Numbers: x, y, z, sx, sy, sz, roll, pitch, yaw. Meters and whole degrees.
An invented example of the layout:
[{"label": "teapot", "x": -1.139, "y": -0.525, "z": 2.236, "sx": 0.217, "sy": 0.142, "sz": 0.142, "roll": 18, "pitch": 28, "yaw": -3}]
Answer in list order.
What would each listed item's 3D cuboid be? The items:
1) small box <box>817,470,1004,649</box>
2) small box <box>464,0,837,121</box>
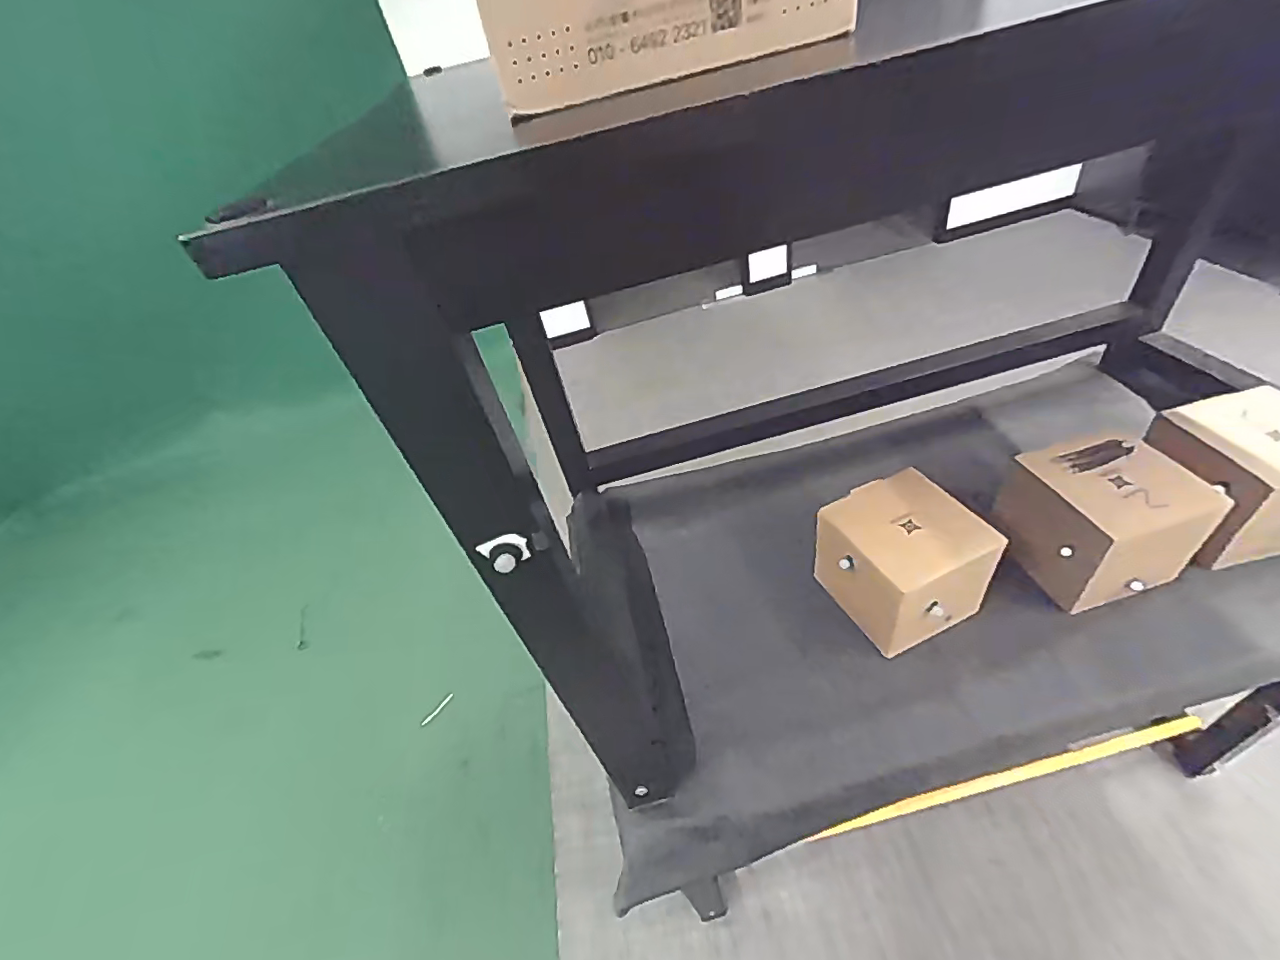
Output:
[{"label": "small box", "x": 0.380, "y": 0.122, "z": 0.795, "sx": 0.168, "sy": 0.176, "sz": 0.179, "roll": -23, "pitch": 42, "yaw": -9}, {"label": "small box", "x": -0.013, "y": -0.294, "z": 0.261, "sx": 0.168, "sy": 0.176, "sz": 0.179, "roll": -15, "pitch": 42, "yaw": 0}]
